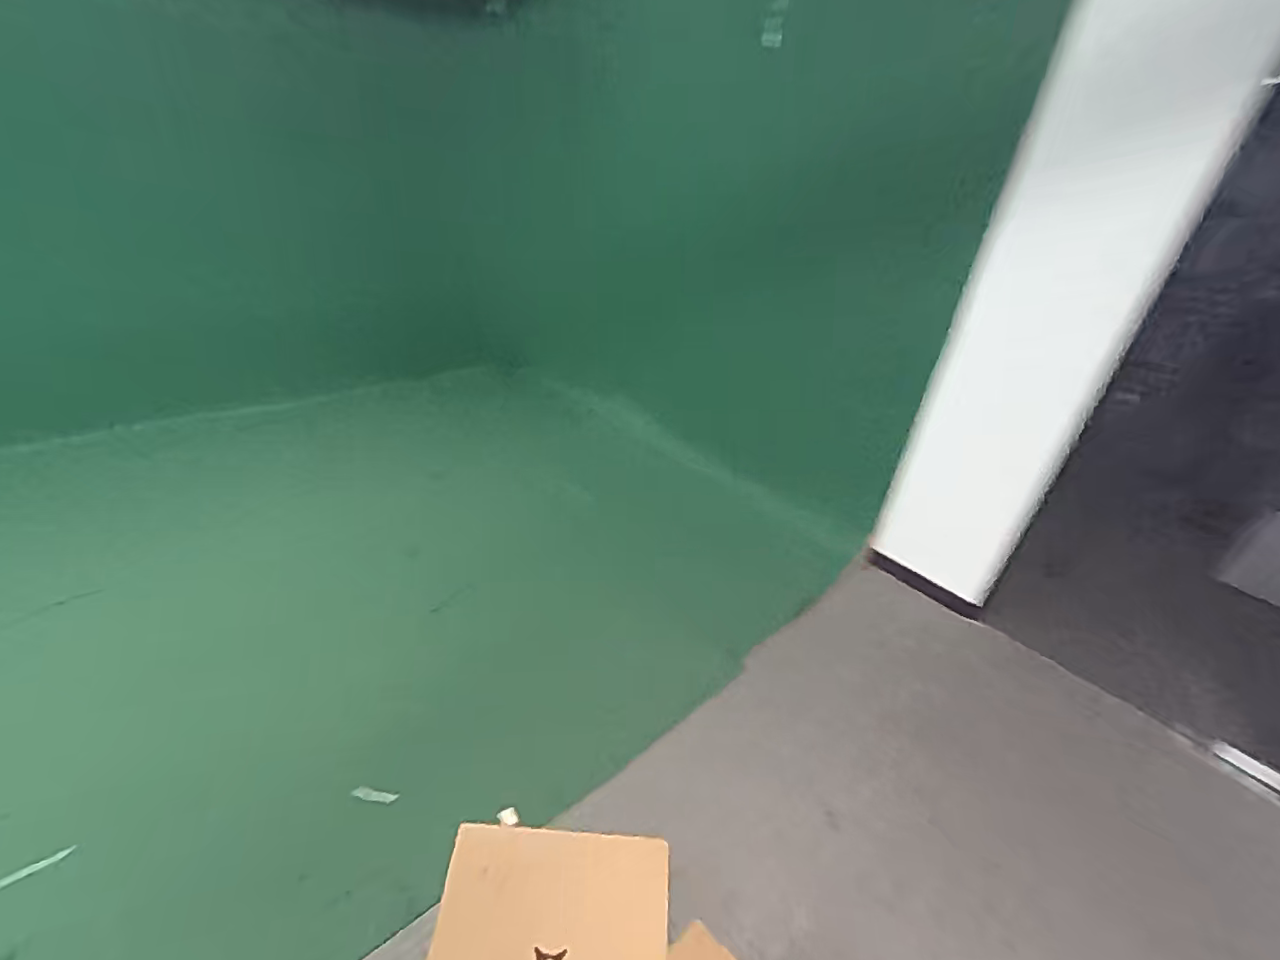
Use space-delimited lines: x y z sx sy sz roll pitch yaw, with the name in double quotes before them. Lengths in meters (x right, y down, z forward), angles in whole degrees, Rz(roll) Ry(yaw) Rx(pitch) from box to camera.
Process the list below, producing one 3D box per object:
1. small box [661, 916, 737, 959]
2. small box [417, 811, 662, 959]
"small box" 0.097 0.947 0.961 0.179 0.176 0.168 -24 41 -38
"small box" -0.077 0.381 0.414 0.168 0.176 0.179 6 44 -4
